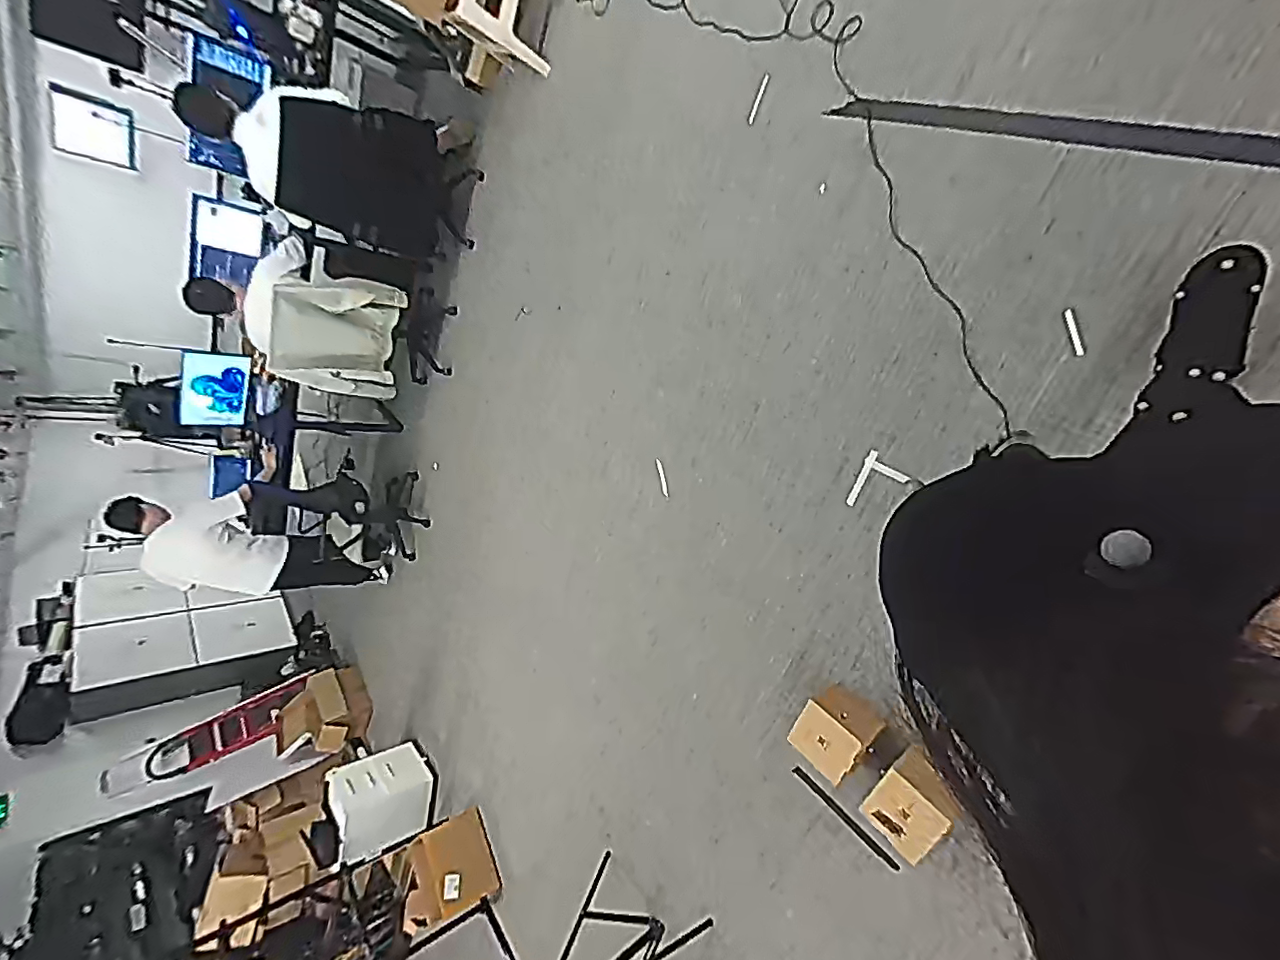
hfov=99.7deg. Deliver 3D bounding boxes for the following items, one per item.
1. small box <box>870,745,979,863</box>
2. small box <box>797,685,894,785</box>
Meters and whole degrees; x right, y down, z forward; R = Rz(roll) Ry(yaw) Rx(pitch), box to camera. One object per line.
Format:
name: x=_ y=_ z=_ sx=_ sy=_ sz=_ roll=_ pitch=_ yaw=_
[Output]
small box: x=0.744 y=0.836 z=1.408 sx=0.168 sy=0.176 sz=0.179 roll=40 pitch=119 yaw=37
small box: x=0.596 y=0.723 z=1.558 sx=0.179 sy=0.176 sz=0.168 roll=37 pitch=116 yaw=40
